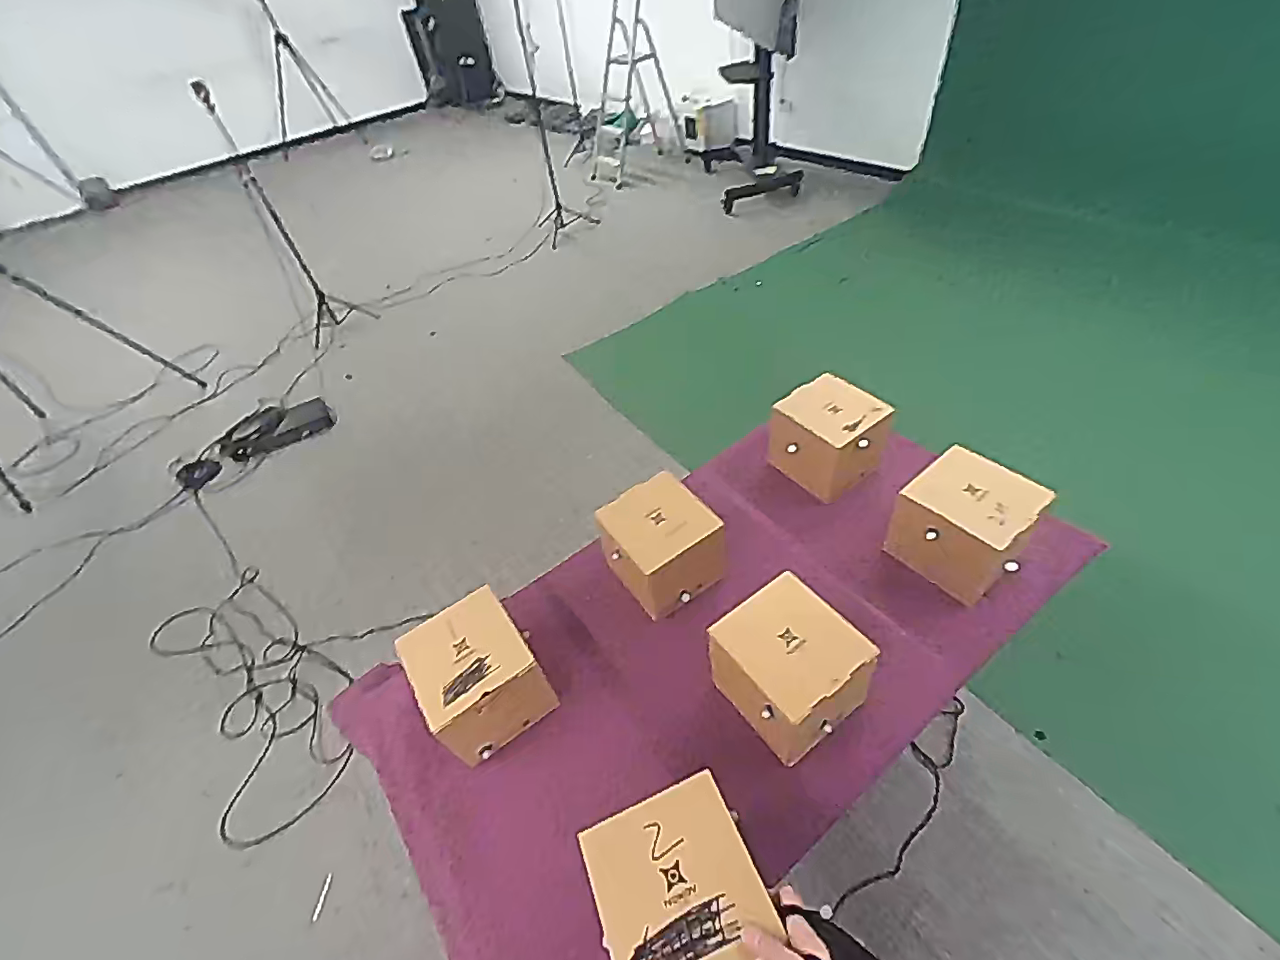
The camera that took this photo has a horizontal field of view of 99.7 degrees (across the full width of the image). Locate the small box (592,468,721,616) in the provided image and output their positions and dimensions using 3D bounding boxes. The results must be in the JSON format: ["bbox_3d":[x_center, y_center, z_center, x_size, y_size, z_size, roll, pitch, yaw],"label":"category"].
[{"bbox_3d":[0.032,0.116,1.003,0.168,0.176,0.179,-30,52,-18],"label":"small box"}]

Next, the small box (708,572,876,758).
[{"bbox_3d":[0.218,0.283,0.825,0.168,0.176,0.179,-30,51,-19],"label":"small box"}]

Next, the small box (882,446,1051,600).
[{"bbox_3d":[0.560,0.078,0.957,0.168,0.176,0.179,-34,52,-19],"label":"small box"}]

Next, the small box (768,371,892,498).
[{"bbox_3d":[0.388,-0.094,1.142,0.168,0.176,0.179,-32,51,-19],"label":"small box"}]

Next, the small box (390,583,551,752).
[{"bbox_3d":[-0.263,0.306,0.866,0.168,0.176,0.179,-31,52,-20],"label":"small box"}]
